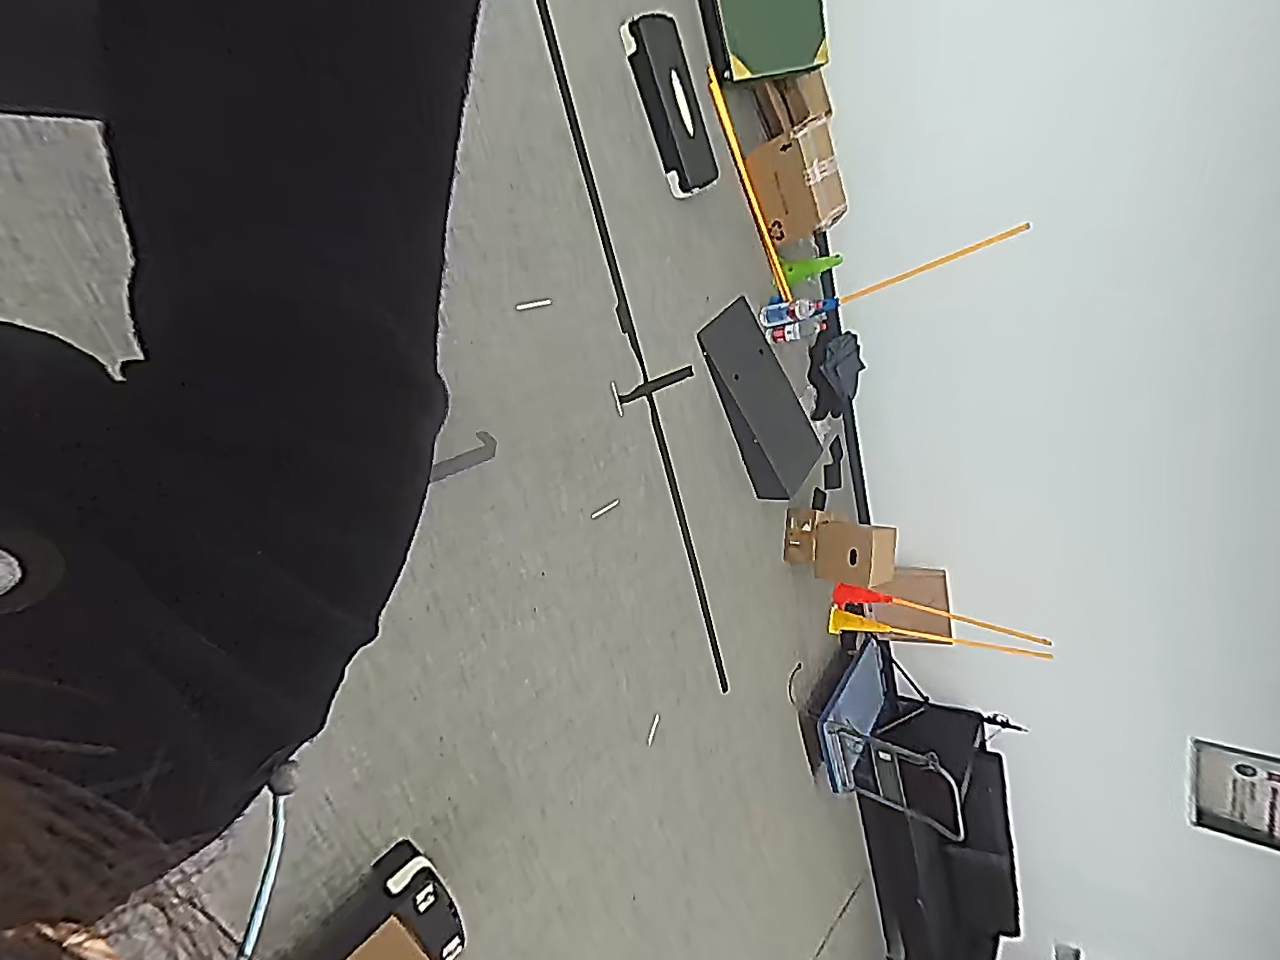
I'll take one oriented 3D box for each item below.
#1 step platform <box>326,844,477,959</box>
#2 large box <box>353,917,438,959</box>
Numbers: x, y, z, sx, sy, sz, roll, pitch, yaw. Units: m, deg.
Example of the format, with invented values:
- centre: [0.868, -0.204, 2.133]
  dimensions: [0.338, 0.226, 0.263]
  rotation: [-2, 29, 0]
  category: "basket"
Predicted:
- centre: [-0.741, 1.267, 1.315]
  dimensions: [0.684, 0.204, 0.286]
  rotation: [-23, 107, -45]
  category: "step platform"
- centre: [-0.574, 1.288, 1.144]
  dimensions: [0.408, 0.320, 0.320]
  rotation: [-30, 112, -44]
  category: "large box"
